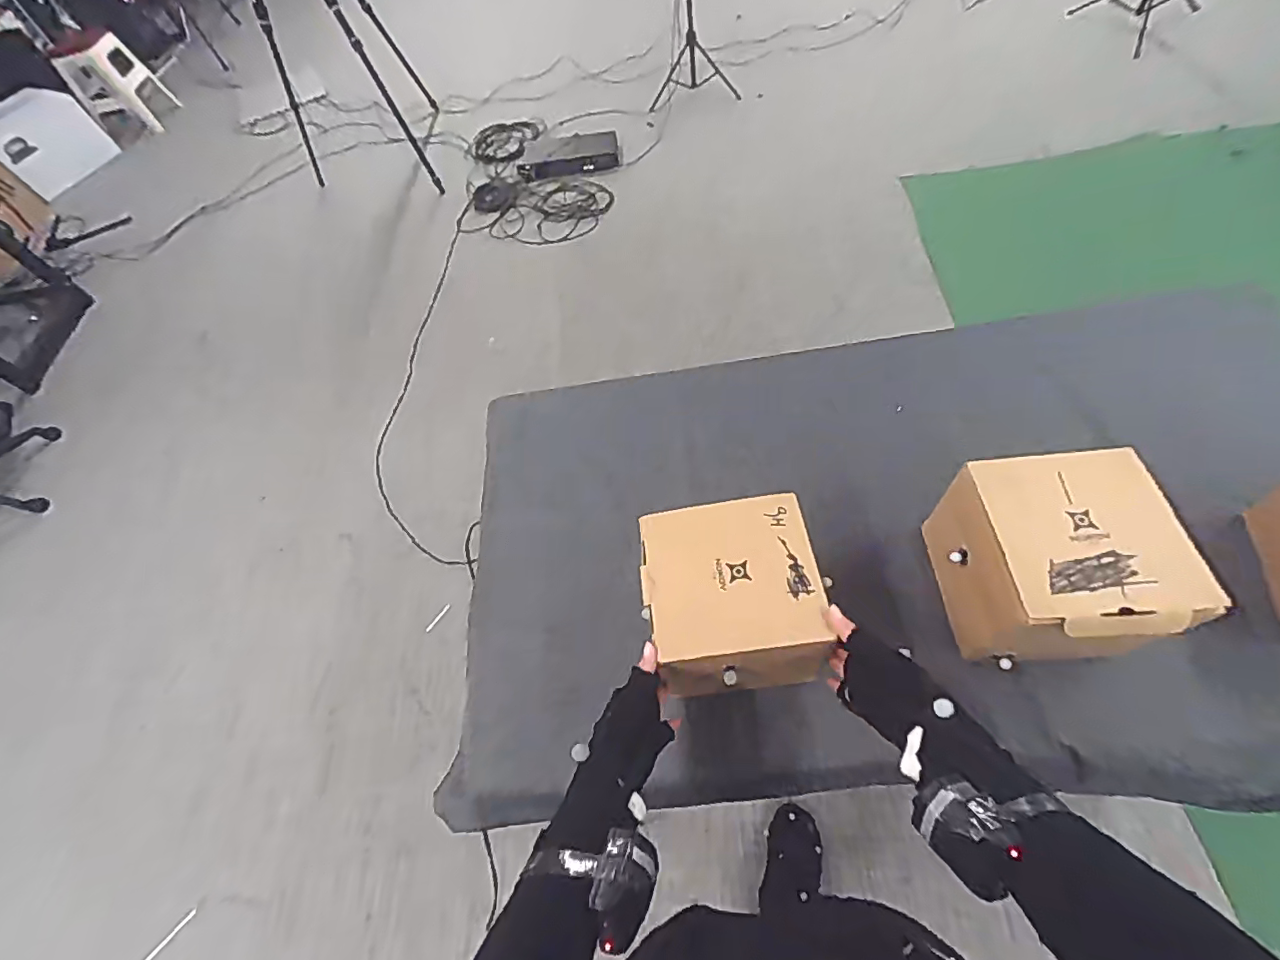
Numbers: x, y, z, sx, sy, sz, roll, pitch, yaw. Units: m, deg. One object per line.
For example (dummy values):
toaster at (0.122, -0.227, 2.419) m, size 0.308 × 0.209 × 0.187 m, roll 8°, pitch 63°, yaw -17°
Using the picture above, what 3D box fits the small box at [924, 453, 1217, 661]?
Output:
small box at (0.439, 0.094, 0.593) m, size 0.168 × 0.176 × 0.179 m, roll -6°, pitch 58°, yaw 7°

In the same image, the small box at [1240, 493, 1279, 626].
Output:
small box at (0.781, 0.085, 0.537) m, size 0.168 × 0.176 × 0.179 m, roll 5°, pitch 59°, yaw 12°

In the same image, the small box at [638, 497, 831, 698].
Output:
small box at (0.103, 0.142, 0.621) m, size 0.179 × 0.176 × 0.168 m, roll -9°, pitch 56°, yaw 5°
